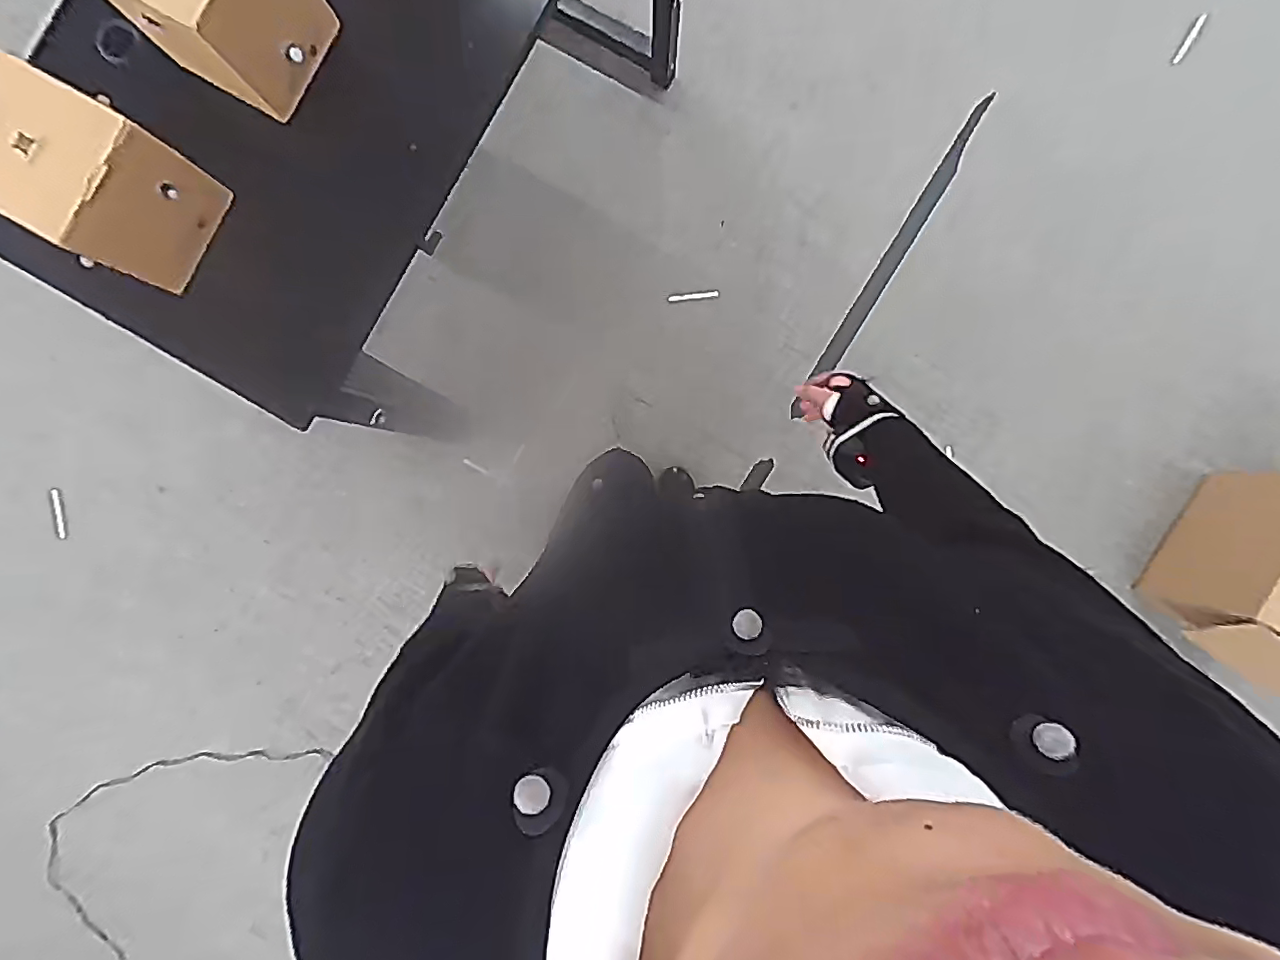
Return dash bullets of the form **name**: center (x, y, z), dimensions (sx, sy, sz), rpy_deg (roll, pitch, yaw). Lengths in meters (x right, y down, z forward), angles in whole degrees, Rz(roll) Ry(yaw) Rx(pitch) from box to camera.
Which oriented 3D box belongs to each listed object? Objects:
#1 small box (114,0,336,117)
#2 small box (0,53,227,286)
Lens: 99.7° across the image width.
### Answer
- **small box**: center (-0.543, -0.620, 0.694), dimensions (0.179, 0.176, 0.168), rpy_deg (29, 90, -1)
- **small box**: center (-0.693, -0.376, 0.694), dimensions (0.179, 0.176, 0.168), rpy_deg (28, 89, 1)
